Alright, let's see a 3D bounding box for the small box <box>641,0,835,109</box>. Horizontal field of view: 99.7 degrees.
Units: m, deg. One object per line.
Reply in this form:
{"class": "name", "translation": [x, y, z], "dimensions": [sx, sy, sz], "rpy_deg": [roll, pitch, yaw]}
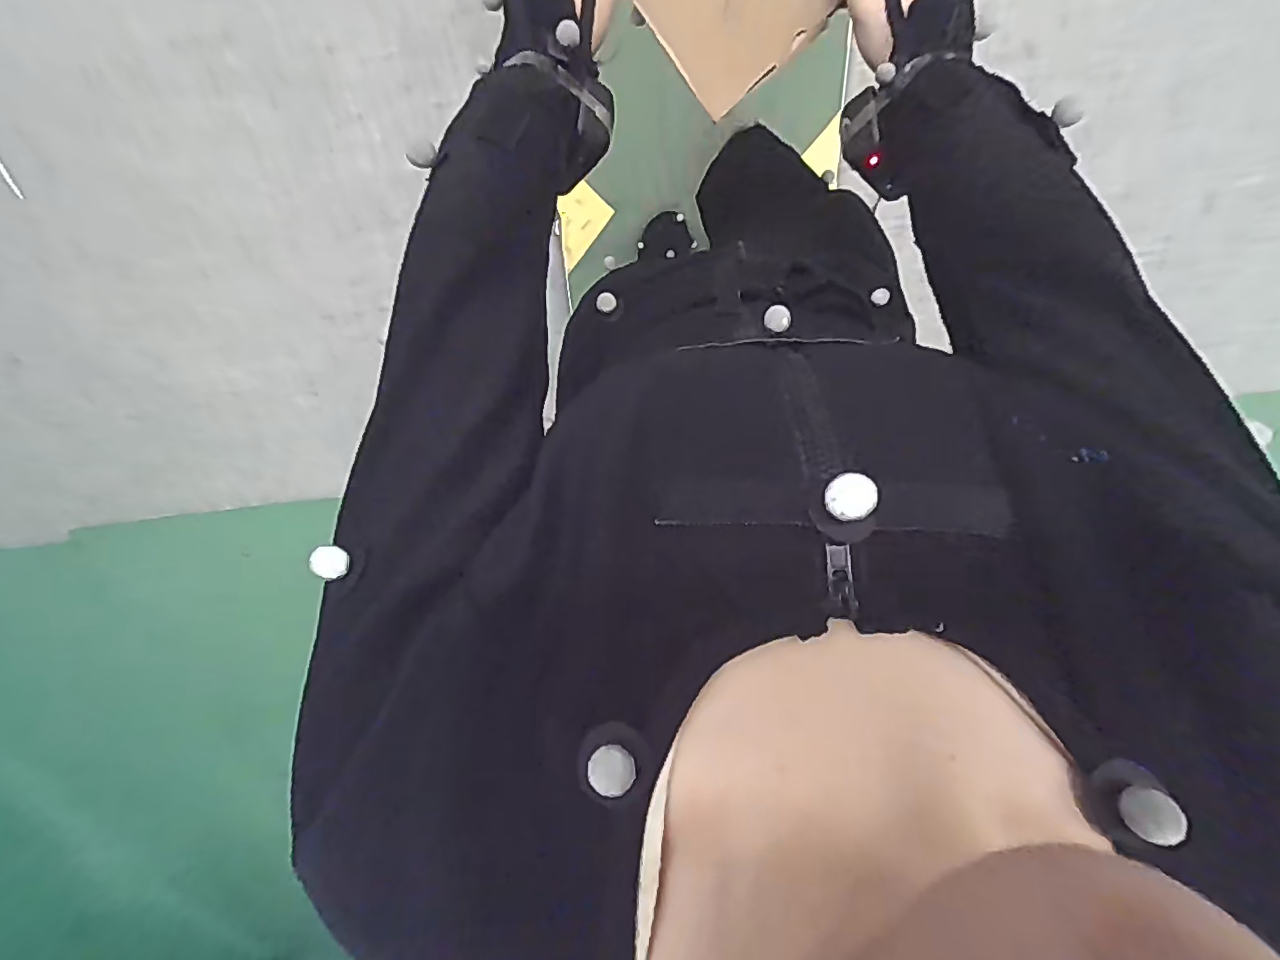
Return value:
{"class": "small box", "translation": [0.067, -0.449, 0.423], "dimensions": [0.168, 0.176, 0.179], "rpy_deg": [-31, 129, 28]}
